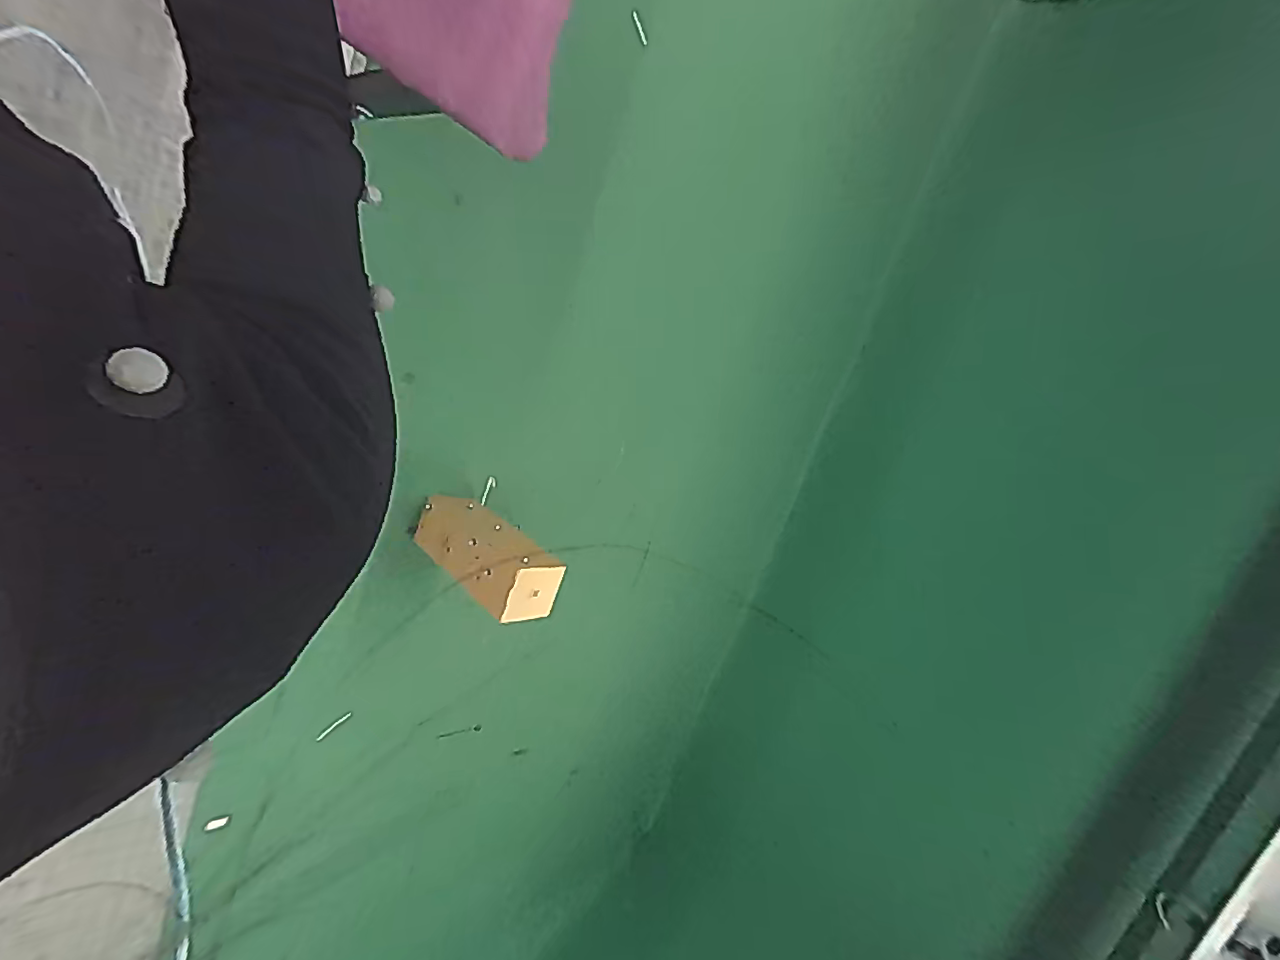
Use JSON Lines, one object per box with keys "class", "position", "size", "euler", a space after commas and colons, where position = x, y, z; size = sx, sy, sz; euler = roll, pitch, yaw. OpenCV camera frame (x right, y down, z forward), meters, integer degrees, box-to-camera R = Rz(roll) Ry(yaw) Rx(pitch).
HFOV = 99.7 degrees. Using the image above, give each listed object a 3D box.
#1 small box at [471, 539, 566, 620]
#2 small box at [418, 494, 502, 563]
{"class": "small box", "position": [-0.349, 0.278, 1.549], "size": [0.179, 0.176, 0.168], "euler": [8, 107, -52]}
{"class": "small box", "position": [-0.585, 0.155, 1.742], "size": [0.179, 0.176, 0.168], "euler": [11, 104, -52]}
